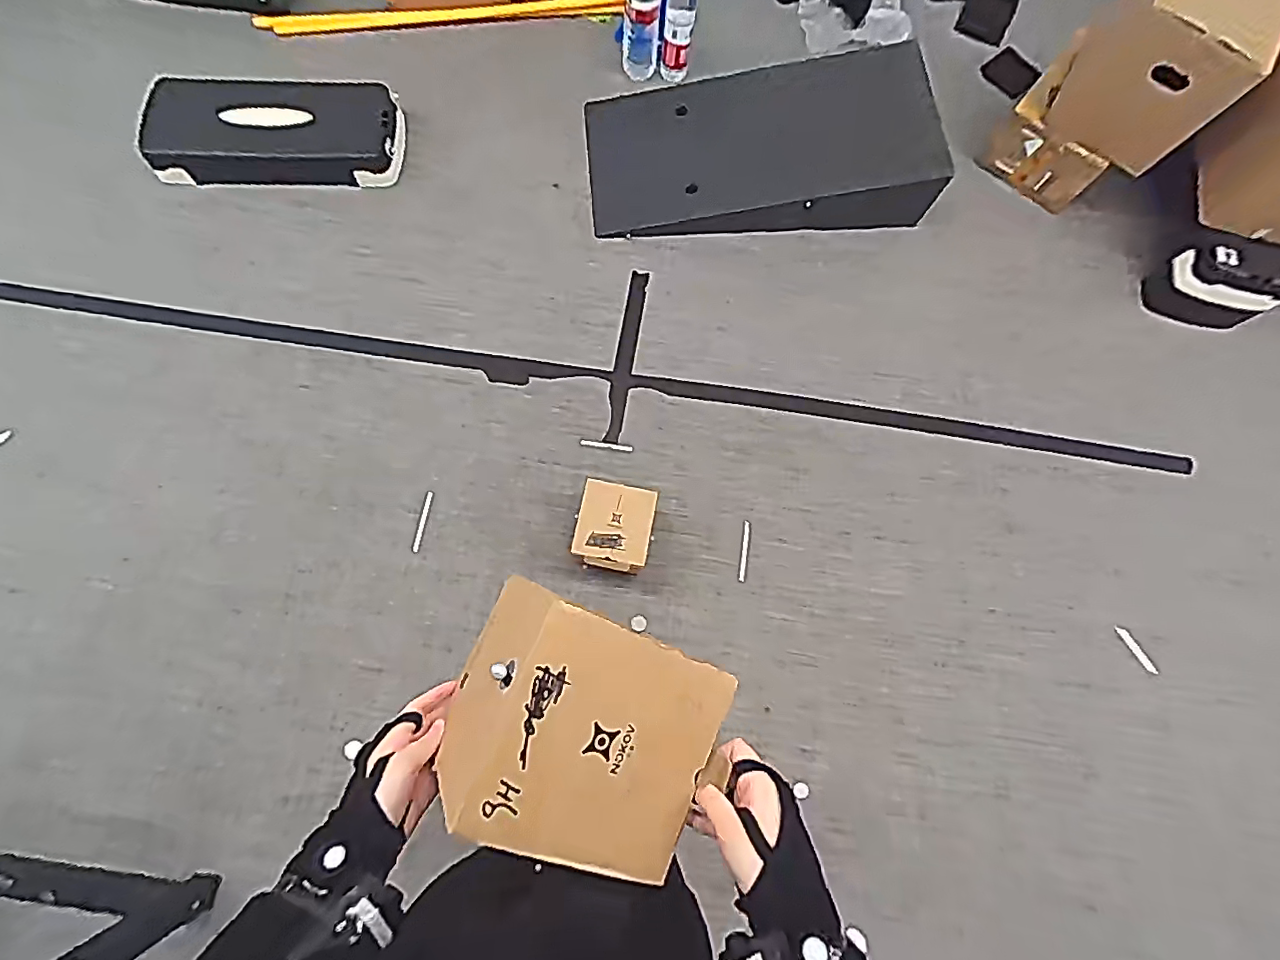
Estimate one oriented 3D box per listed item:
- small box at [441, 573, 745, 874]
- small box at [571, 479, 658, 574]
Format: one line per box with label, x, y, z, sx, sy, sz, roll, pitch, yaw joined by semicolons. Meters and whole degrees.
small box;-0.049;0.190;0.467;0.179;0.176;0.168;31;74;-20
small box;-0.058;0.117;1.265;0.168;0.176;0.179;12;74;-1
